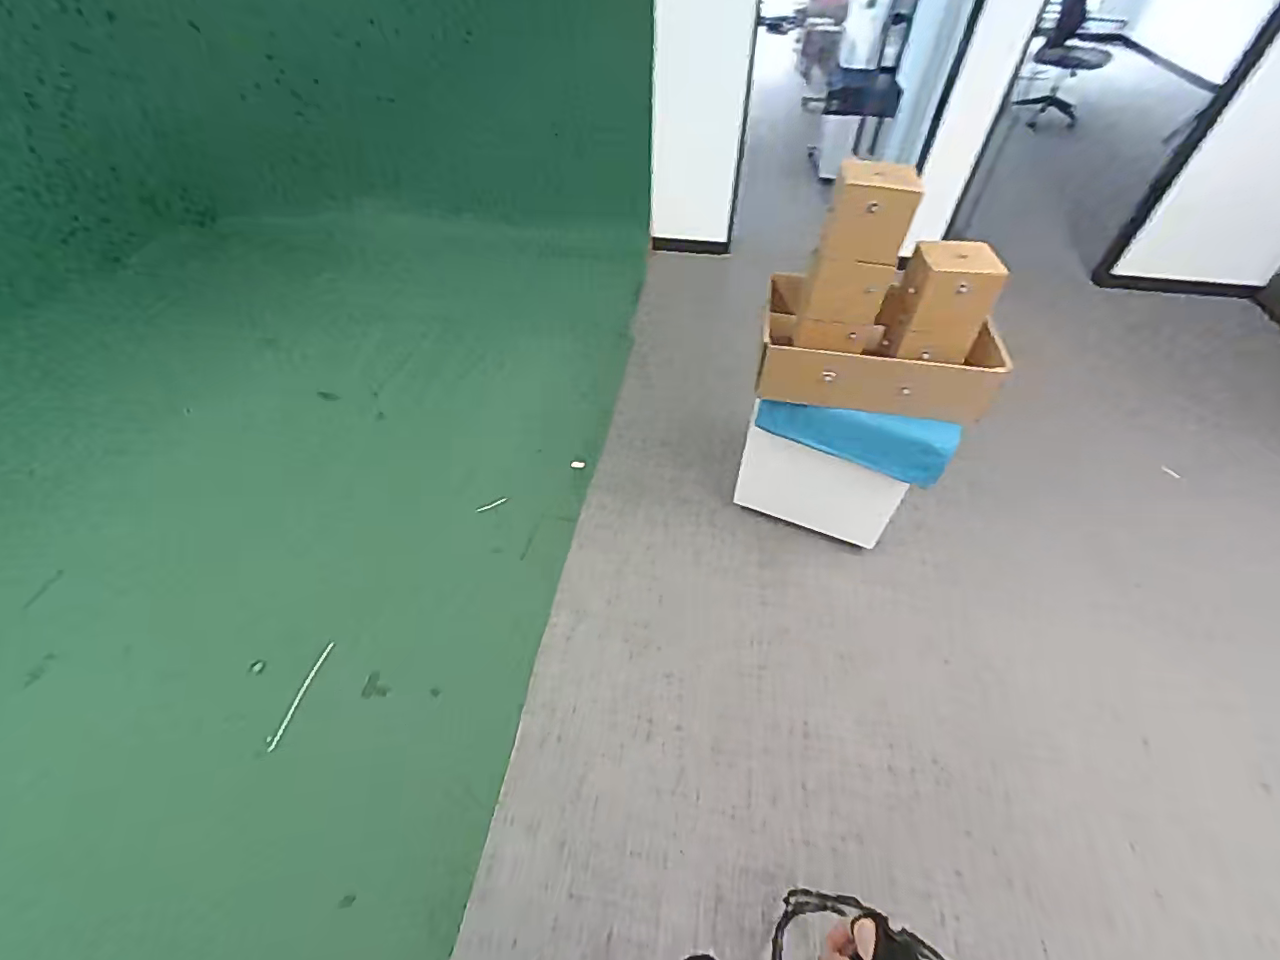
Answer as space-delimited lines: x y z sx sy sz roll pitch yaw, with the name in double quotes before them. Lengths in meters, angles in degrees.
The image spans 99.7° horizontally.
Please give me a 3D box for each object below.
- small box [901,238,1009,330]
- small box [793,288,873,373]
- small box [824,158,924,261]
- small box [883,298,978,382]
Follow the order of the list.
"small box" 0.786 -0.498 1.377 0.179 0.176 0.168 4 48 4
"small box" 0.538 -0.422 1.535 0.179 0.176 0.168 8 48 5
"small box" 0.545 -0.644 1.291 0.179 0.176 0.168 10 49 6
"small box" 0.790 -0.387 1.496 0.179 0.176 0.168 4 48 6
